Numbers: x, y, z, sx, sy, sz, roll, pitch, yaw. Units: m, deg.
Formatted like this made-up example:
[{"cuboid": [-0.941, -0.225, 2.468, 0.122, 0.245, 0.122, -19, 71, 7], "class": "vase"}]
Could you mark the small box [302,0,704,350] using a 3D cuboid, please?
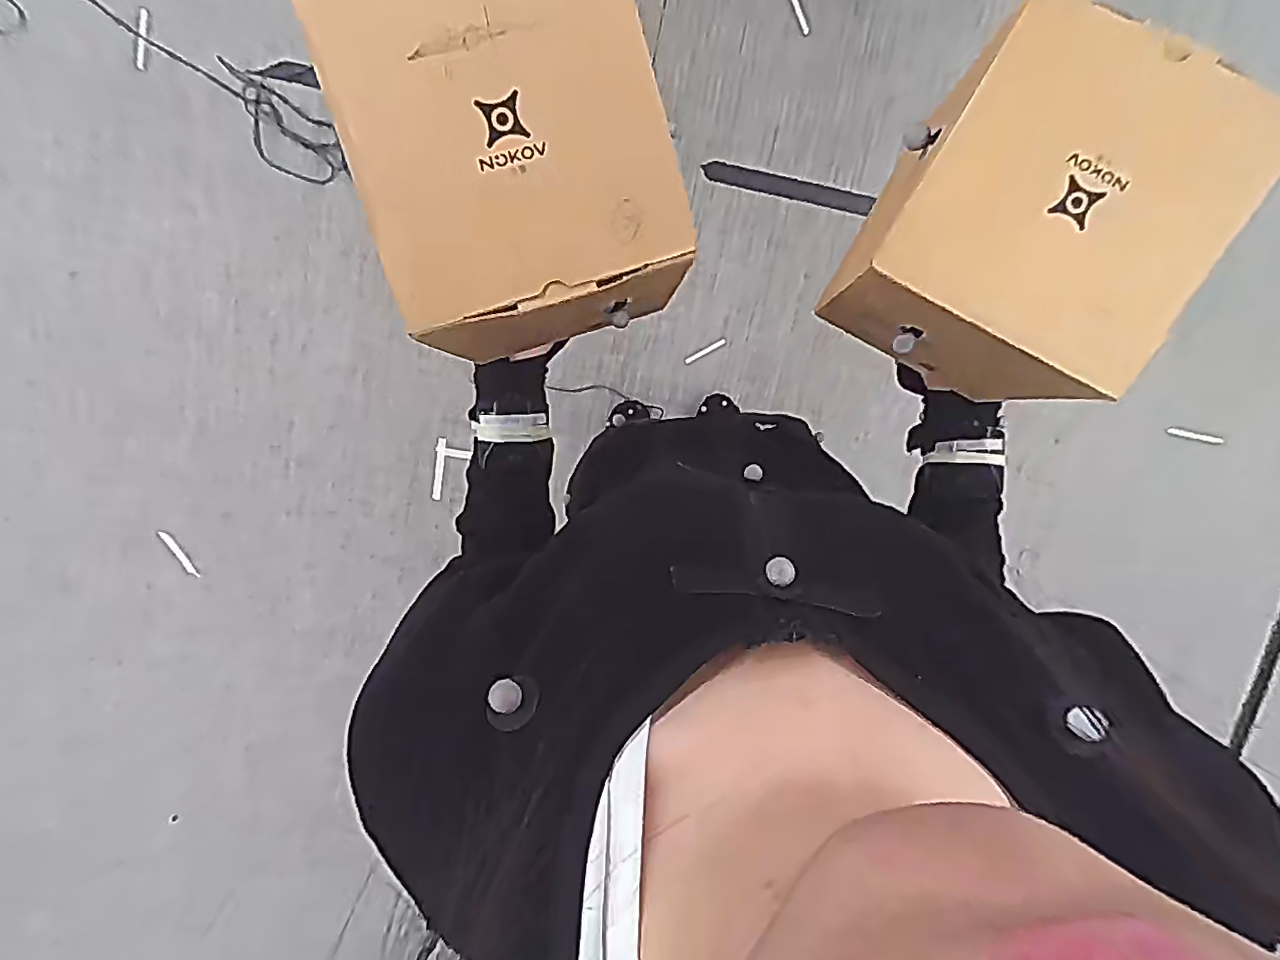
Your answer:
[{"cuboid": [-0.071, -0.192, 0.357, 0.168, 0.176, 0.179, -18, 98, -3], "class": "small box"}]

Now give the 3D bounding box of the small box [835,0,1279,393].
[{"cuboid": [0.260, -0.173, 0.382, 0.168, 0.176, 0.179, 29, 99, 2], "class": "small box"}]
